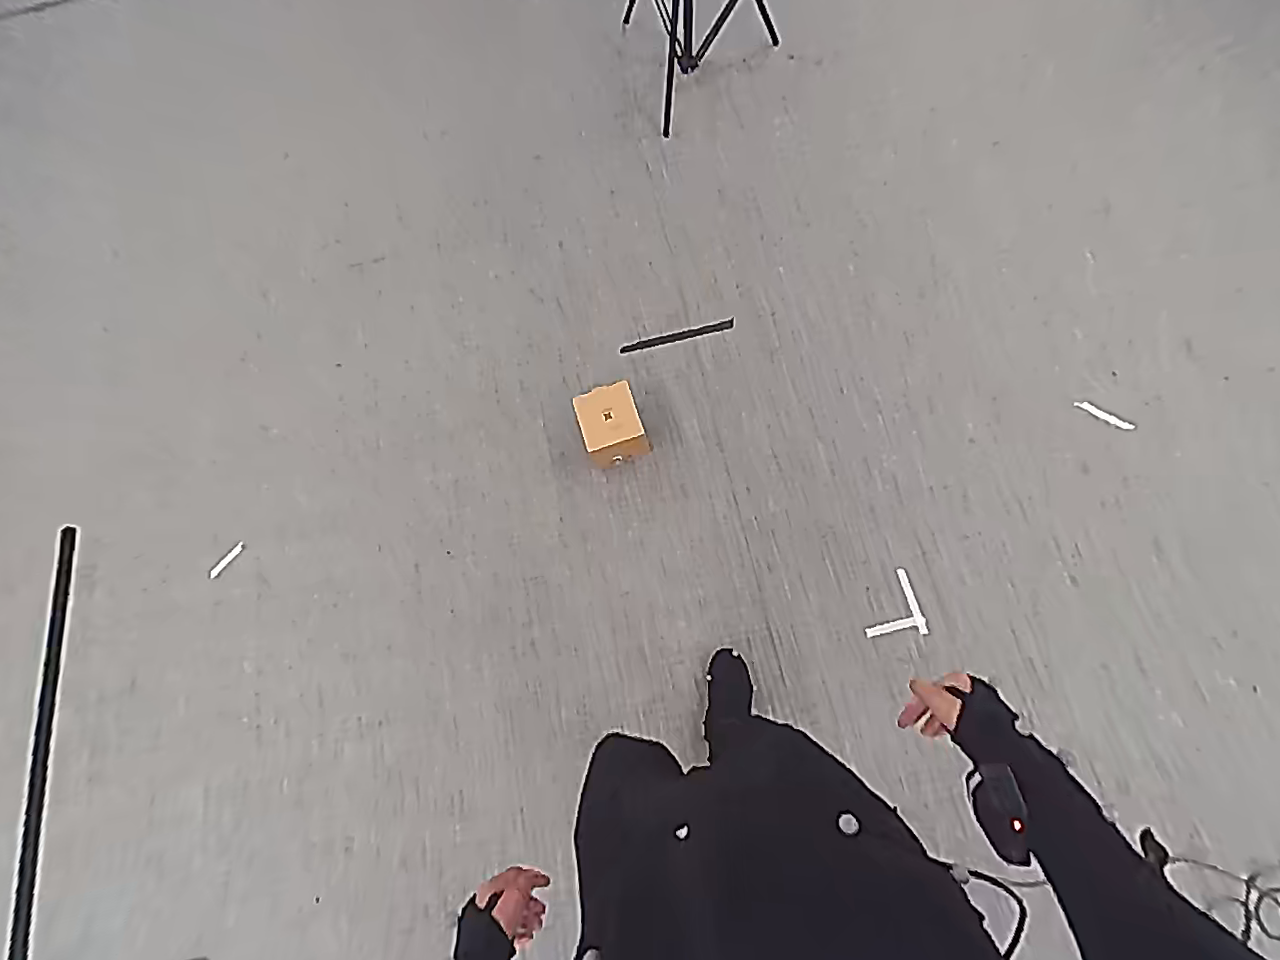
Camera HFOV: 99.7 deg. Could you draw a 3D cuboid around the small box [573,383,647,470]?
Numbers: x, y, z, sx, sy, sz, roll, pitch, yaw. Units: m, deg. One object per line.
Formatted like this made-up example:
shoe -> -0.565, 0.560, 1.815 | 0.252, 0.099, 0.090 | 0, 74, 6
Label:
small box -> -0.083, -0.150, 1.568 | 0.168, 0.176, 0.179 | -18, 73, 0
